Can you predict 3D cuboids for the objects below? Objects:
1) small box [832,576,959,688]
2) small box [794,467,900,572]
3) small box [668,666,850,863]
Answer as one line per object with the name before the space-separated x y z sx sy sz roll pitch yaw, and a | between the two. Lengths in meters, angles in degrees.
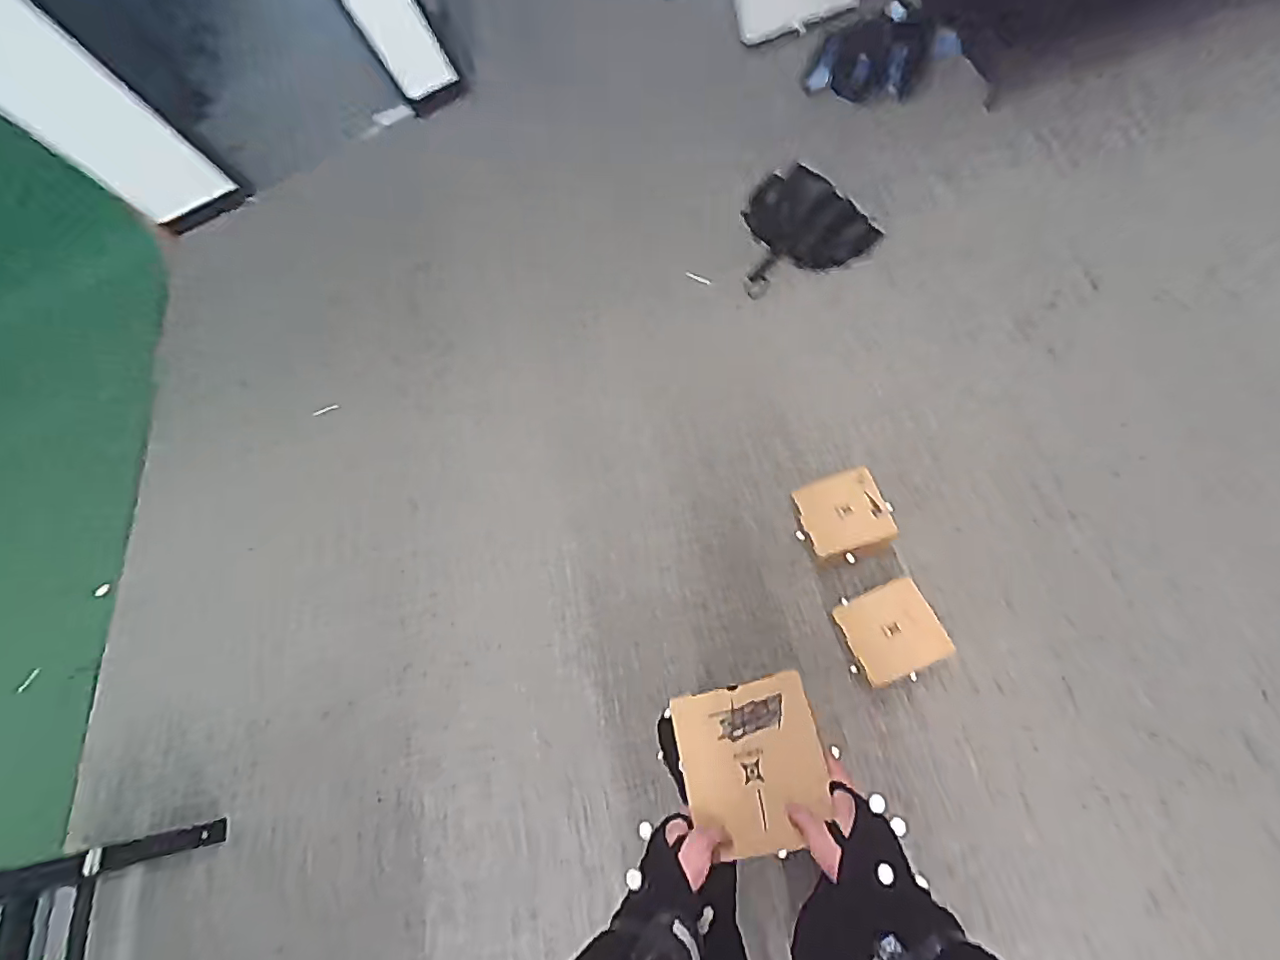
small box | 0.520 0.325 1.132 0.179 0.176 0.168 -26 64 4
small box | 0.469 0.098 1.240 0.179 0.176 0.168 -19 64 10
small box | 0.147 0.347 0.670 0.168 0.176 0.179 -18 60 12
